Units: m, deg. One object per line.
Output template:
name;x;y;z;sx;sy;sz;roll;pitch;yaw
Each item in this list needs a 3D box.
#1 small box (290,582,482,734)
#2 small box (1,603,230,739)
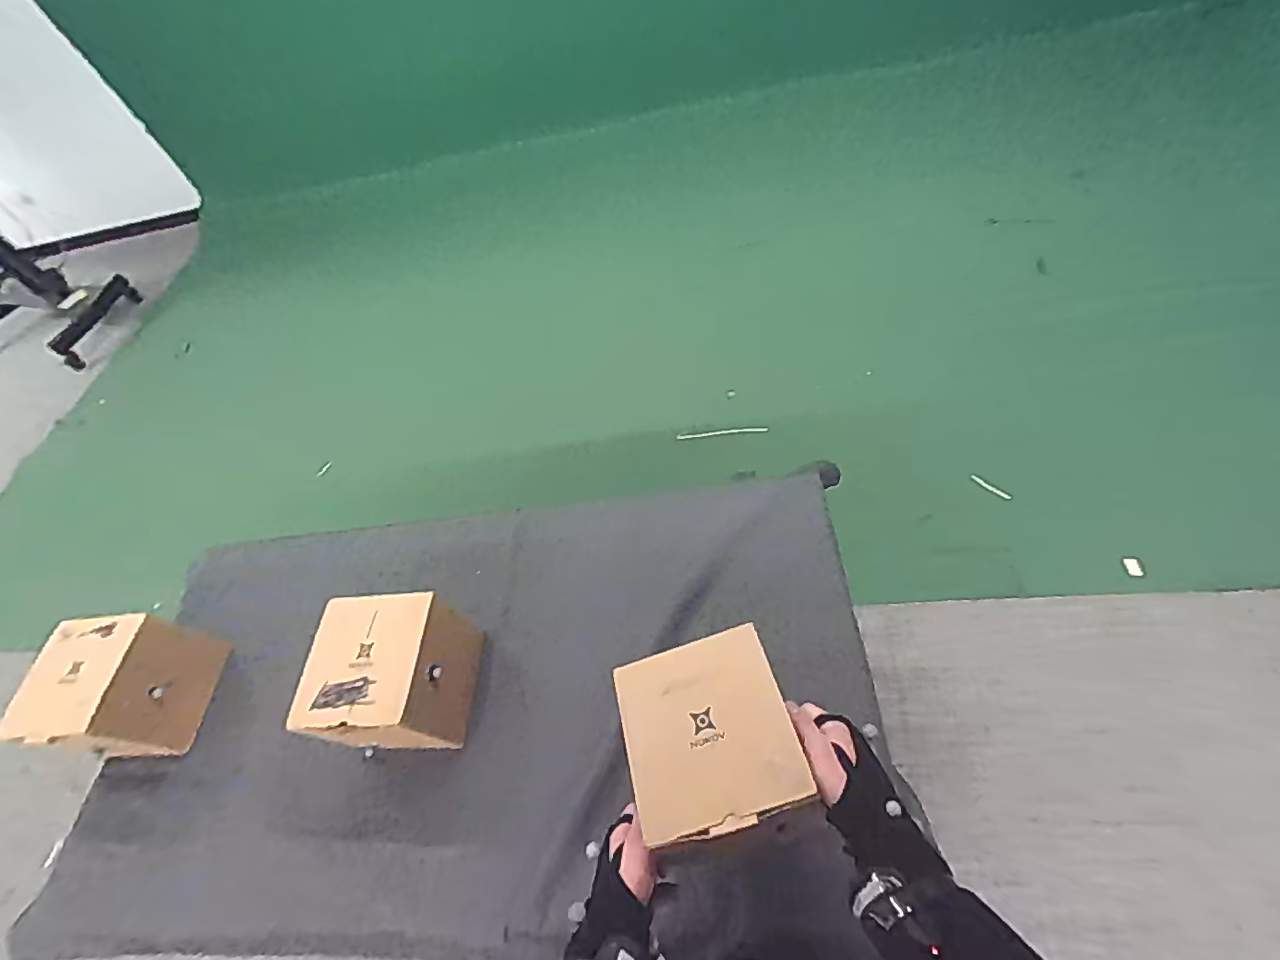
small box;-0.348;0.263;0.781;0.168;0.176;0.179;-5;56;10
small box;-0.812;0.311;0.863;0.168;0.176;0.179;-6;58;8
